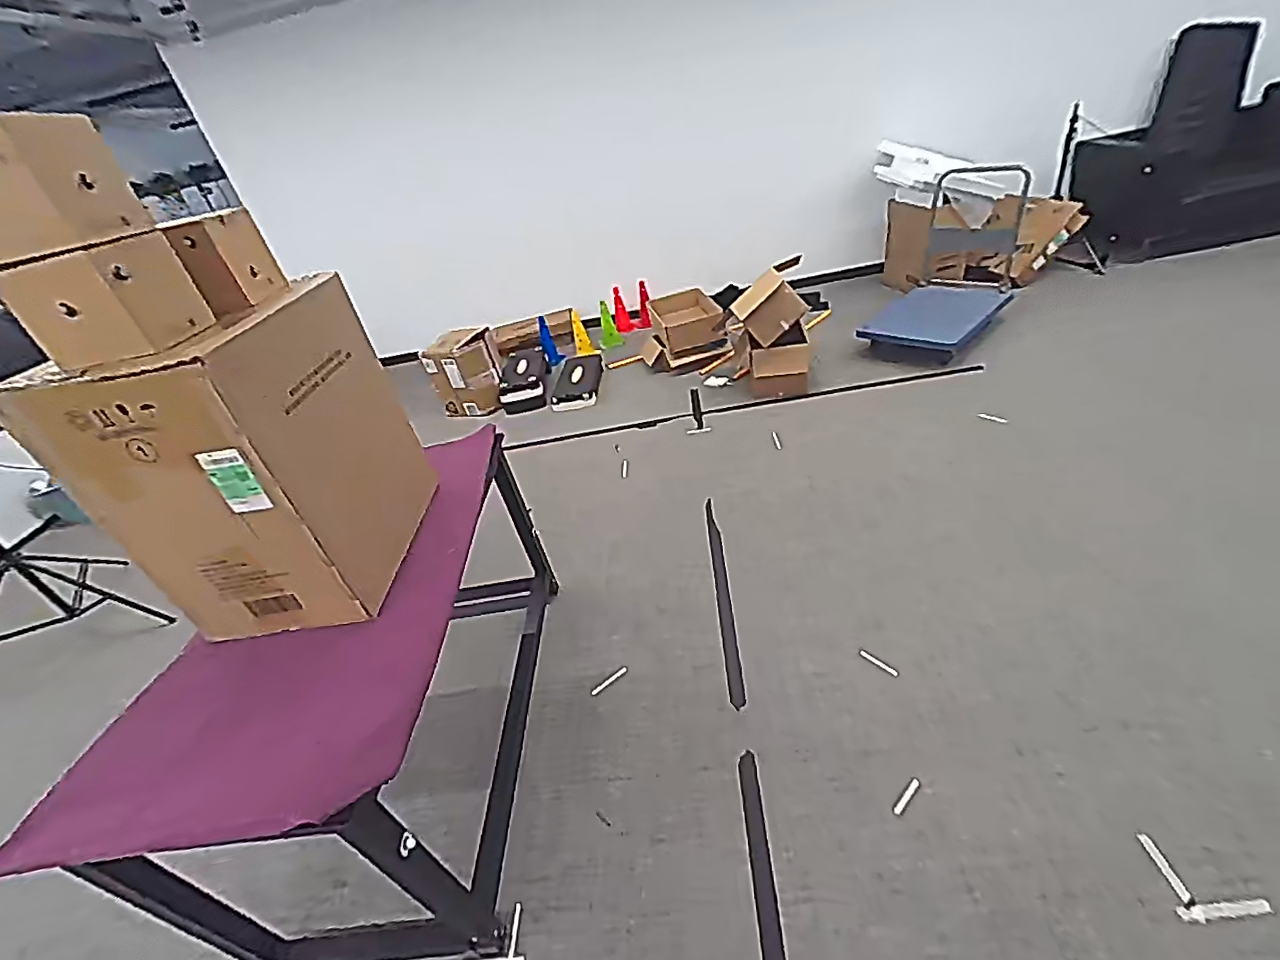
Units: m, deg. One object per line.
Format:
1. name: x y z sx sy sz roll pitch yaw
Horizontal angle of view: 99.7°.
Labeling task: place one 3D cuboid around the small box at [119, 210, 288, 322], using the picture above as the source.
1. small box: -0.888 -0.440 1.120 0.179 0.176 0.168 -11 35 2

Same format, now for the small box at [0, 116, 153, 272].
1. small box: -0.911 -0.431 0.816 0.179 0.176 0.168 -12 32 1
